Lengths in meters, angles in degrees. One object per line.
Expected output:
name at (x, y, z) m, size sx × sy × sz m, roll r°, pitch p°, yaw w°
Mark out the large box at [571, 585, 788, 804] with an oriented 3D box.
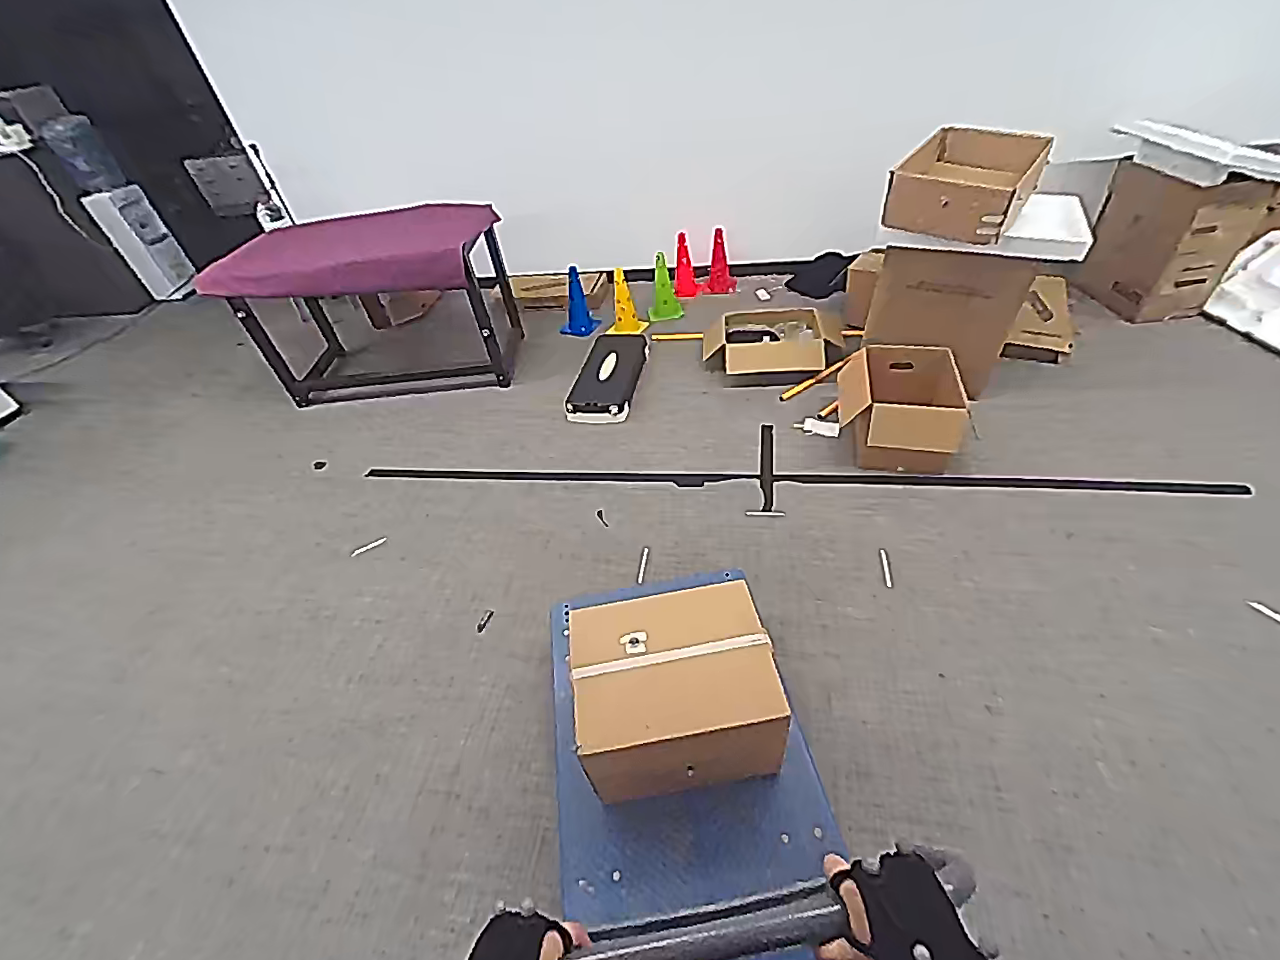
large box at (0.082, 0.484, 1.220) m, size 0.408 × 0.320 × 0.320 m, roll -11°, pitch 43°, yaw -1°
